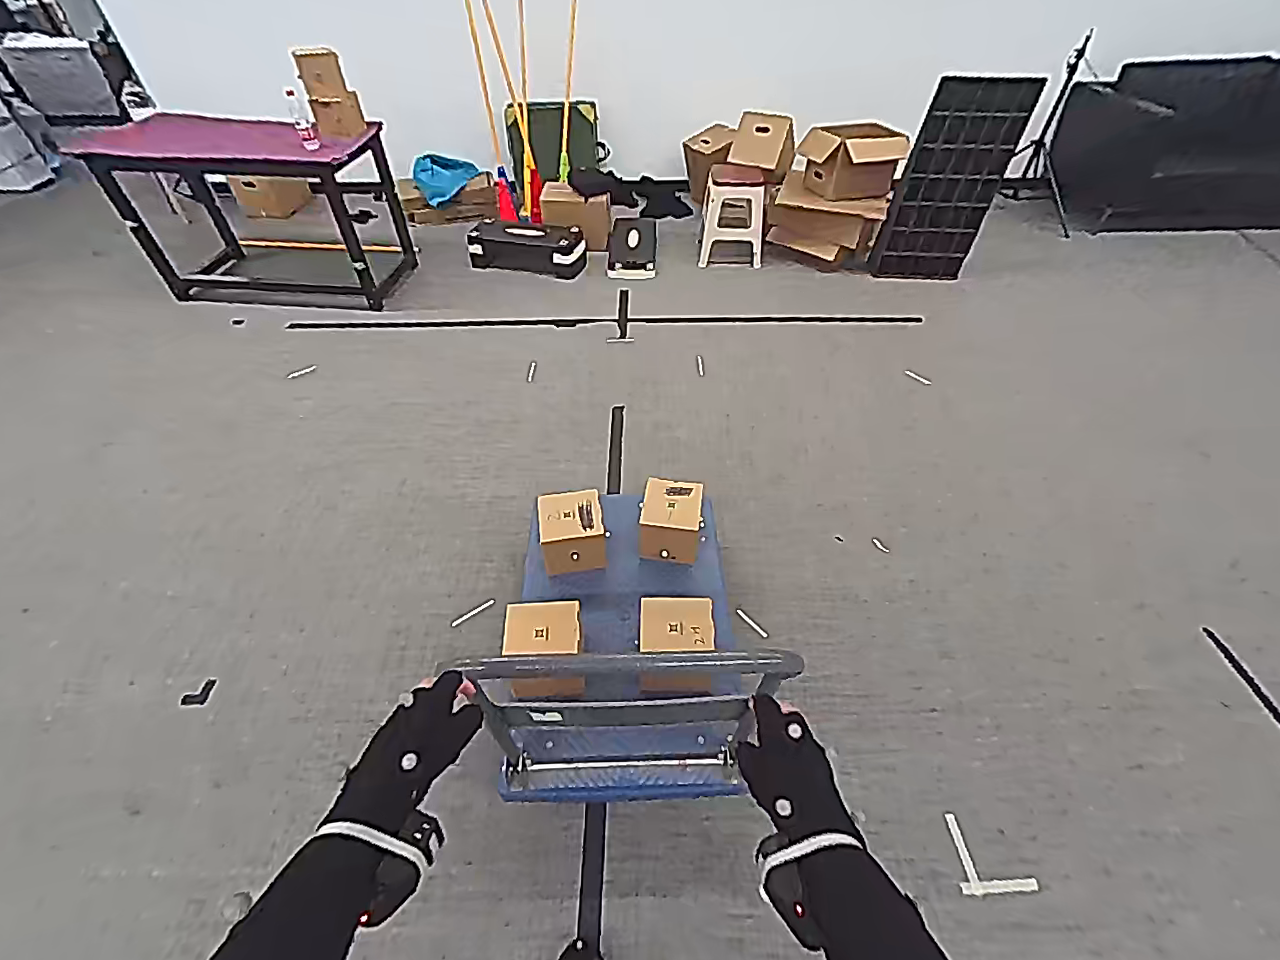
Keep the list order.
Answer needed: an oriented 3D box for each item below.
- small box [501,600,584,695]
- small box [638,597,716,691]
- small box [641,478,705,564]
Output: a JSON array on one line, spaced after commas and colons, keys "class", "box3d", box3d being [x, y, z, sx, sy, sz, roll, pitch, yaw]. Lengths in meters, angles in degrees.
[{"class": "small box", "box3d": [-0.229, 0.409, 1.315, 0.179, 0.176, 0.168, -2, 47, -4]}, {"class": "small box", "box3d": [0.087, 0.403, 1.322, 0.179, 0.176, 0.168, 1, 47, 1]}, {"class": "small box", "box3d": [0.094, 0.120, 1.584, 0.168, 0.176, 0.179, 7, 49, 6]}]
